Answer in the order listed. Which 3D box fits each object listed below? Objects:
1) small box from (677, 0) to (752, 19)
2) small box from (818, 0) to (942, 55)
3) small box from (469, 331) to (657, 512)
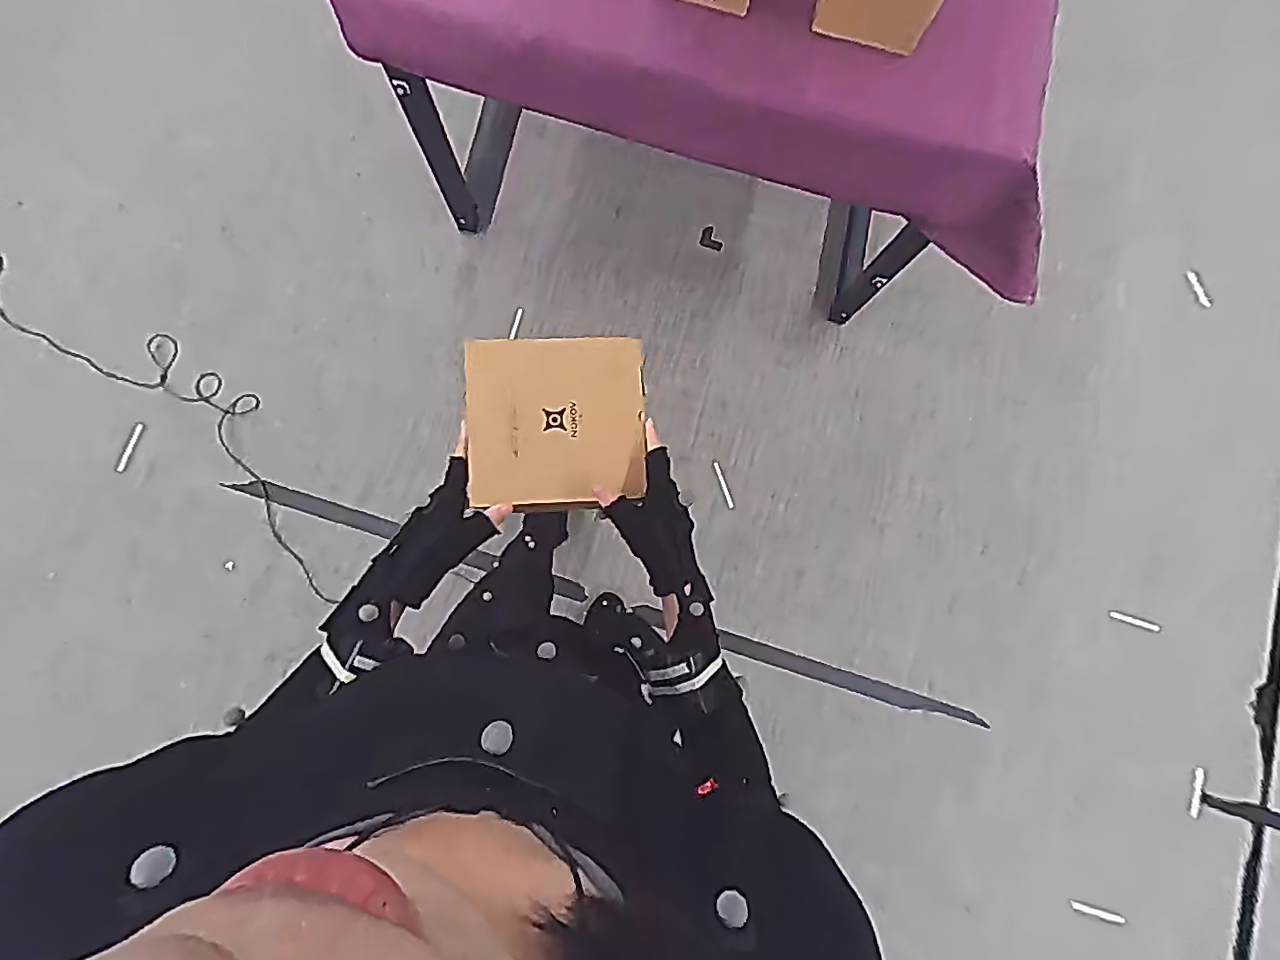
[{"bbox_3d":[0.128,-0.889,0.844,0.168,0.176,0.179,14,82,-2],"label":"small box"},{"bbox_3d":[0.401,-0.825,0.854,0.179,0.176,0.168,13,82,-1],"label":"small box"},{"bbox_3d":[-0.084,-0.055,0.603,0.179,0.176,0.168,-4,83,-6],"label":"small box"}]
